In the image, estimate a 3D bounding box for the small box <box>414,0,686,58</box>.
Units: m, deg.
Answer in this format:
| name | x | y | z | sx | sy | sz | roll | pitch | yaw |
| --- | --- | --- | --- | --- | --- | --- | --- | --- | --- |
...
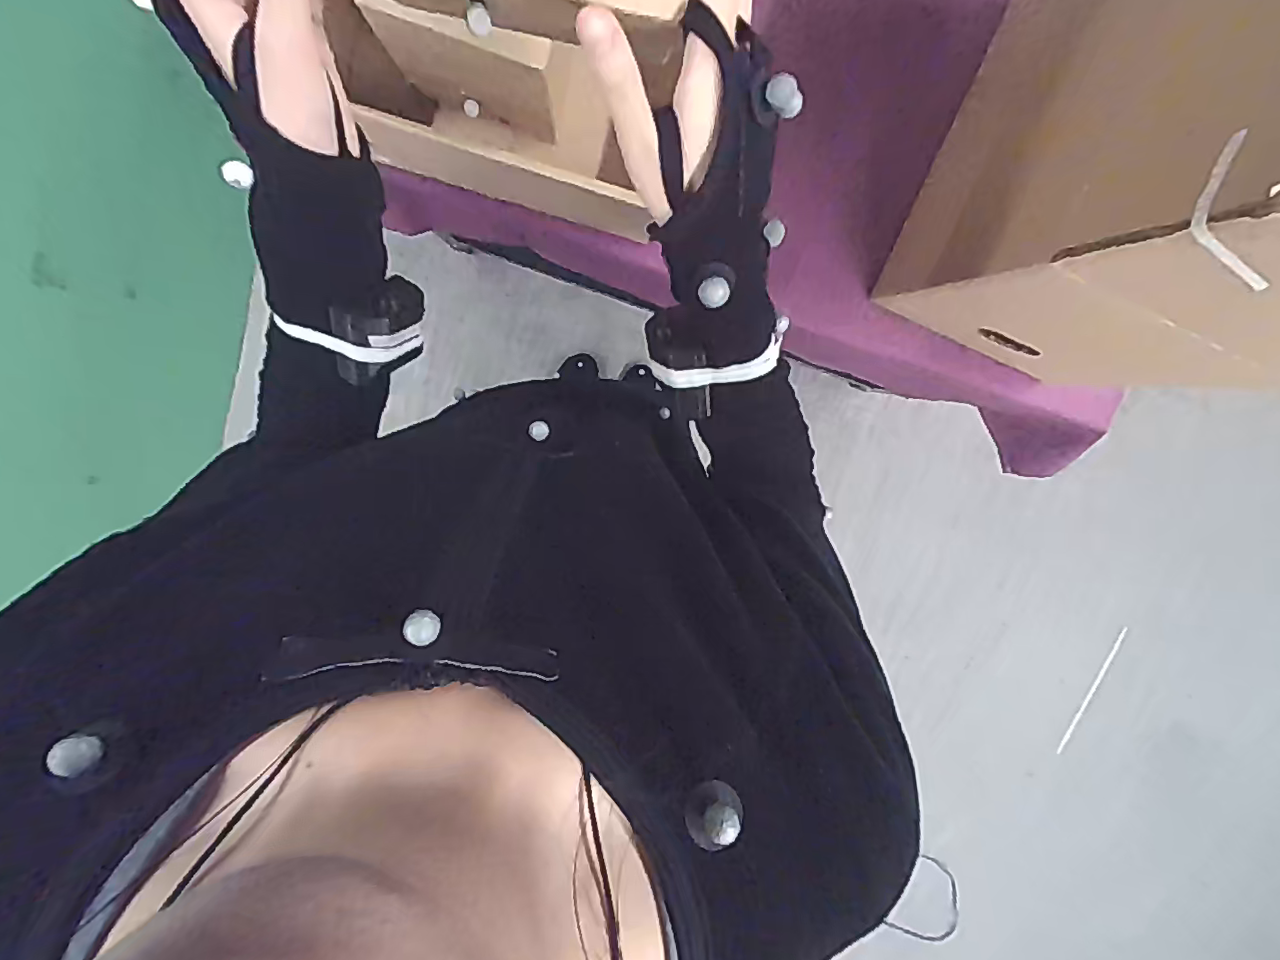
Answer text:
| name | x | y | z | sx | sy | sz | roll | pitch | yaw |
| --- | --- | --- | --- | --- | --- | --- | --- | --- | --- |
| small box | -0.051 | -0.316 | 0.247 | 0.179 | 0.176 | 0.168 | 9 | 124 | -7 |
